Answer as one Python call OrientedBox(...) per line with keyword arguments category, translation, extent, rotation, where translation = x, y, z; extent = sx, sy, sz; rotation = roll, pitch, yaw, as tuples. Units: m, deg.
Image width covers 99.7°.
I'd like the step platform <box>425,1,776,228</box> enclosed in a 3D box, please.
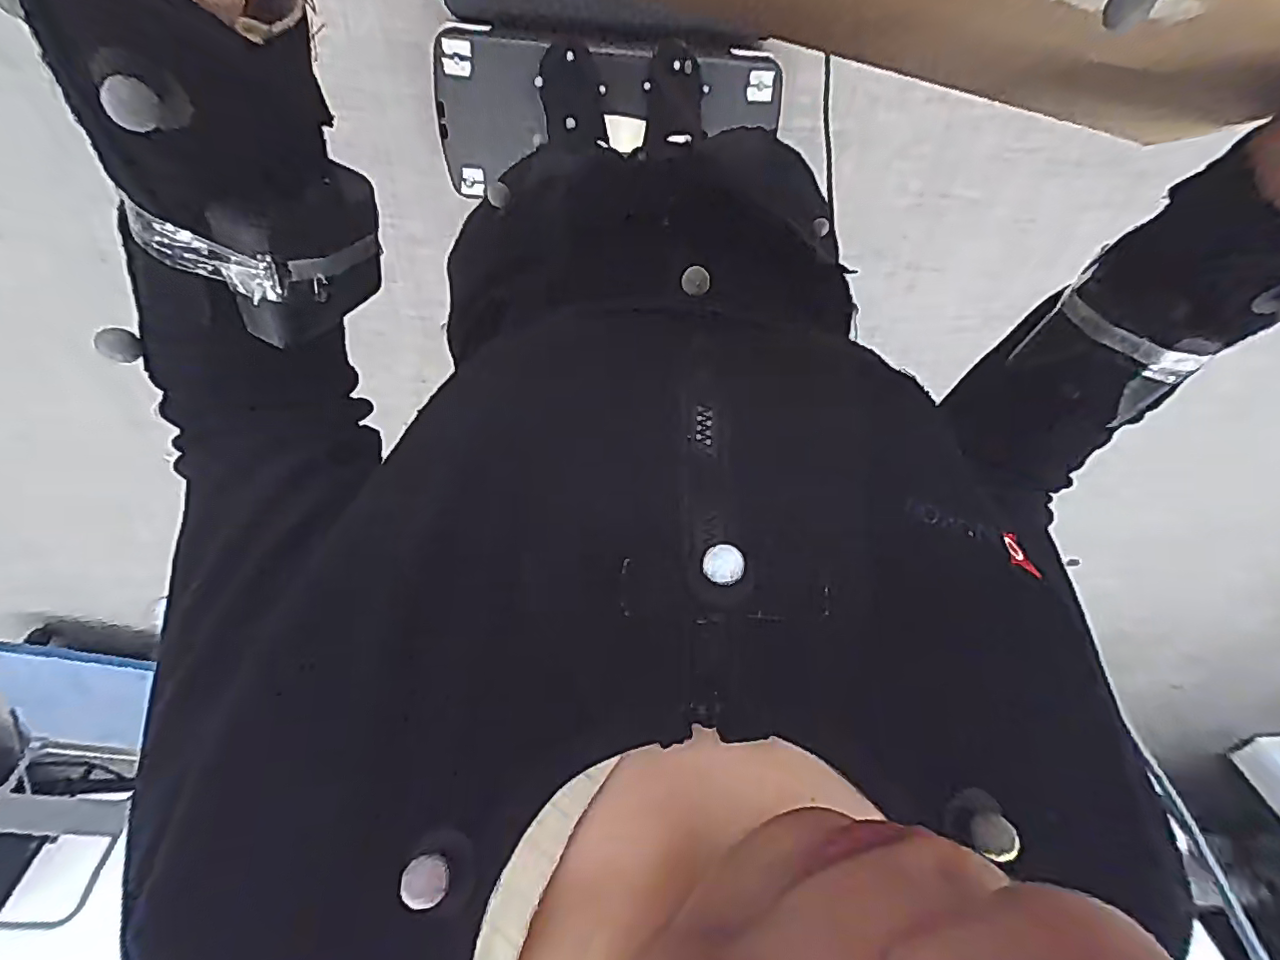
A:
OrientedBox(category="step platform", translation=(-0.076, -0.732, 1.113), extent=(0.684, 0.204, 0.286), rotation=(6, 130, -8))
